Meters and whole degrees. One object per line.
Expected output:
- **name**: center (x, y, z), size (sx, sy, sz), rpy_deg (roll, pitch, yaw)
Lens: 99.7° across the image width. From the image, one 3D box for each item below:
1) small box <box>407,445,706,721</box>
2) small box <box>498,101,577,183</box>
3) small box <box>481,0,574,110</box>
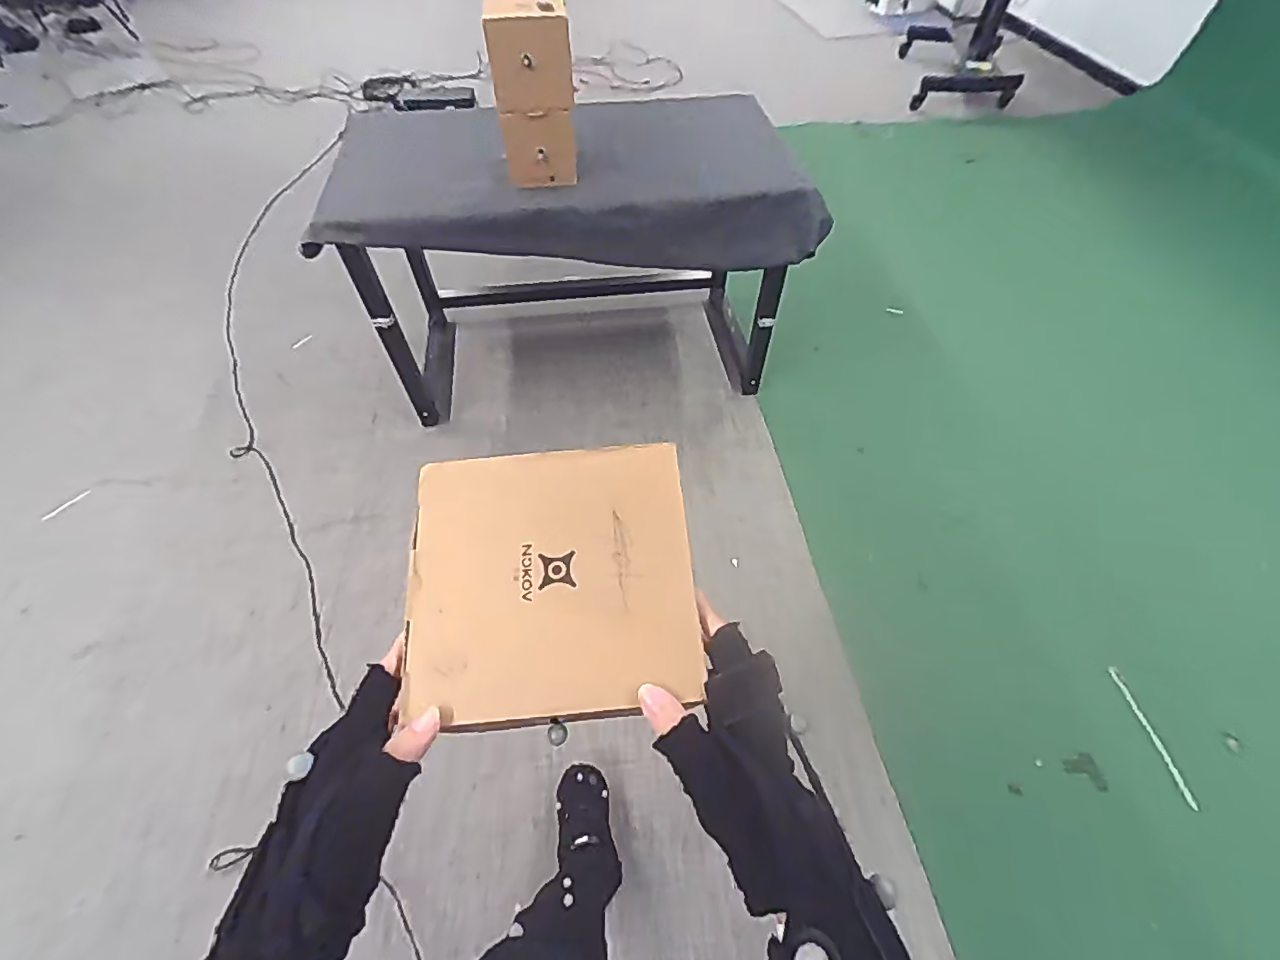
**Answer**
- **small box**: center (-0.054, 0.088, 0.414), size (0.179, 0.176, 0.168), rpy_deg (-5, 67, -3)
- **small box**: center (-0.248, -0.846, 1.322), size (0.168, 0.176, 0.179), rpy_deg (-7, 55, -6)
- **small box**: center (-0.240, -0.941, 1.187), size (0.179, 0.176, 0.168), rpy_deg (-7, 54, -4)
